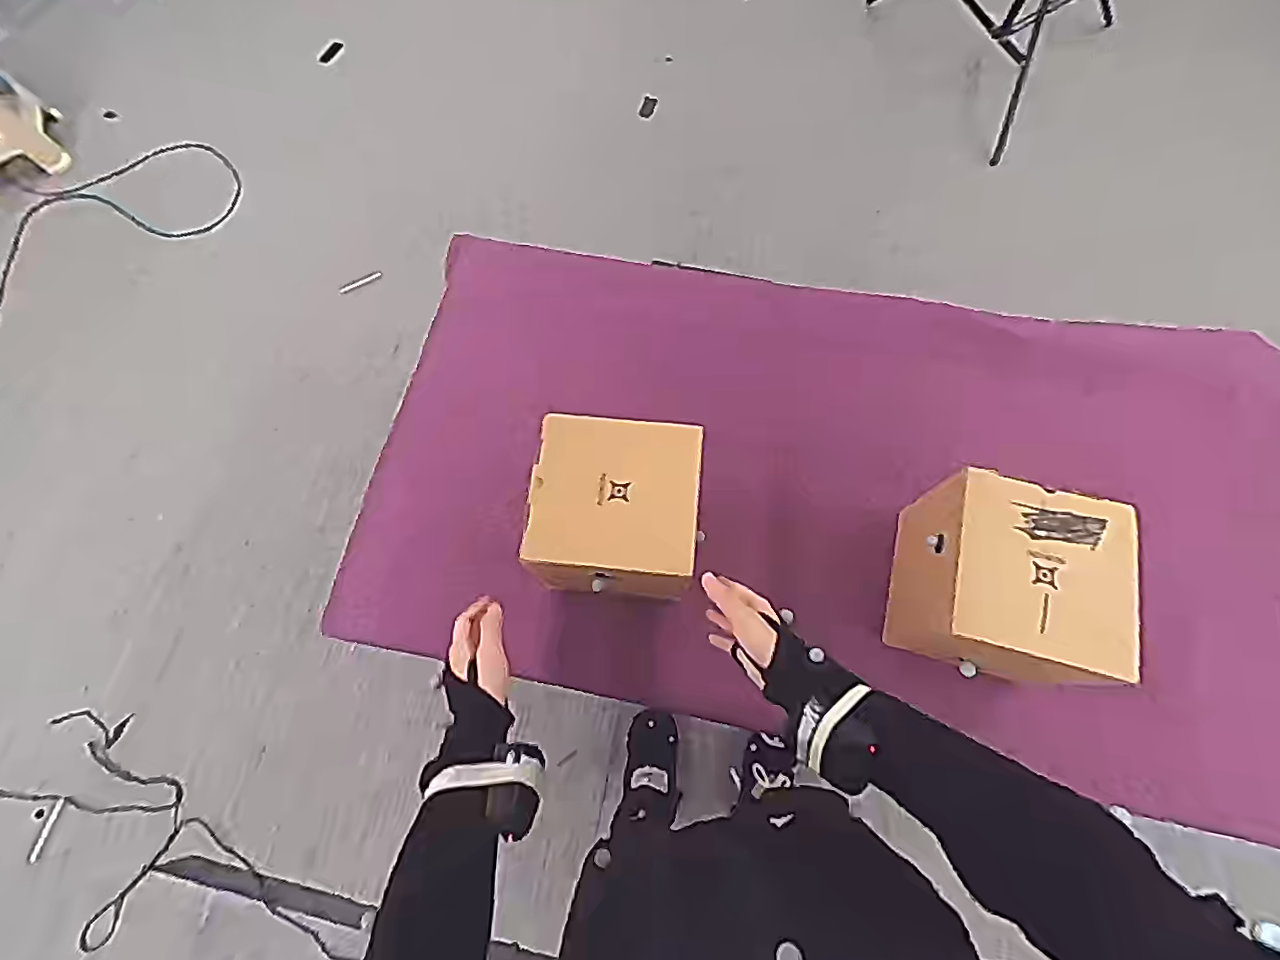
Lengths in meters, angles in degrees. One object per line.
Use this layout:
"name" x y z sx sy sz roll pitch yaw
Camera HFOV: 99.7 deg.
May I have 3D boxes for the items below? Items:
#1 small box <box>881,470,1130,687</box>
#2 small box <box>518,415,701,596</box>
"small box" 0.389 0.115 0.600 0.168 0.176 0.179 15 72 7
"small box" -0.027 0.040 0.640 0.179 0.176 0.168 5 70 4
